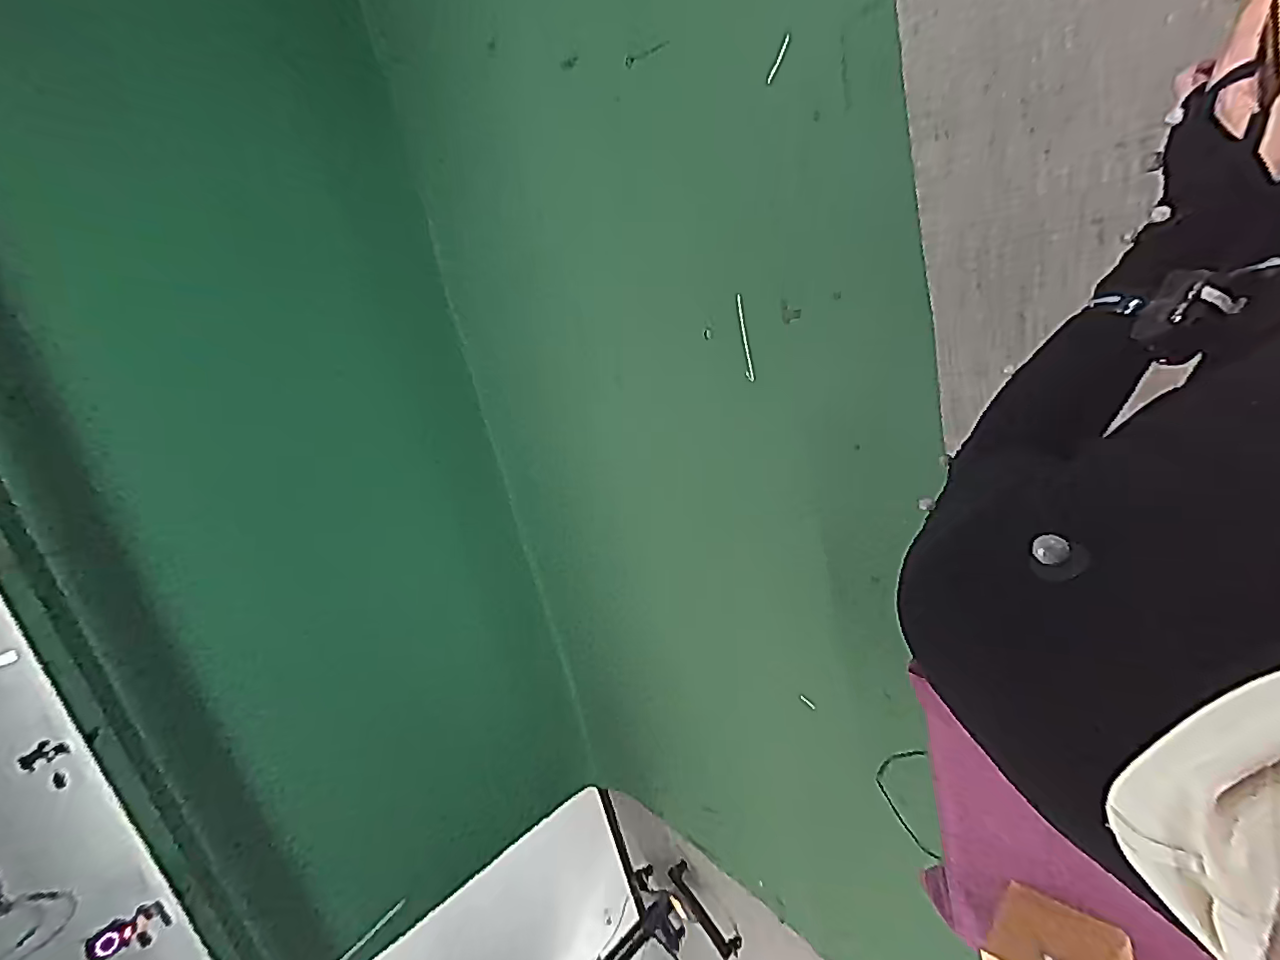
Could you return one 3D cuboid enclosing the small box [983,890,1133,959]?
[{"bbox_3d":[0.750,0.888,0.962,0.179,0.176,0.168,-6,104,52],"label":"small box"}]

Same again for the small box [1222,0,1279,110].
[{"bbox_3d":[0.558,-0.406,0.393,0.168,0.176,0.179,-7,112,42],"label":"small box"}]
